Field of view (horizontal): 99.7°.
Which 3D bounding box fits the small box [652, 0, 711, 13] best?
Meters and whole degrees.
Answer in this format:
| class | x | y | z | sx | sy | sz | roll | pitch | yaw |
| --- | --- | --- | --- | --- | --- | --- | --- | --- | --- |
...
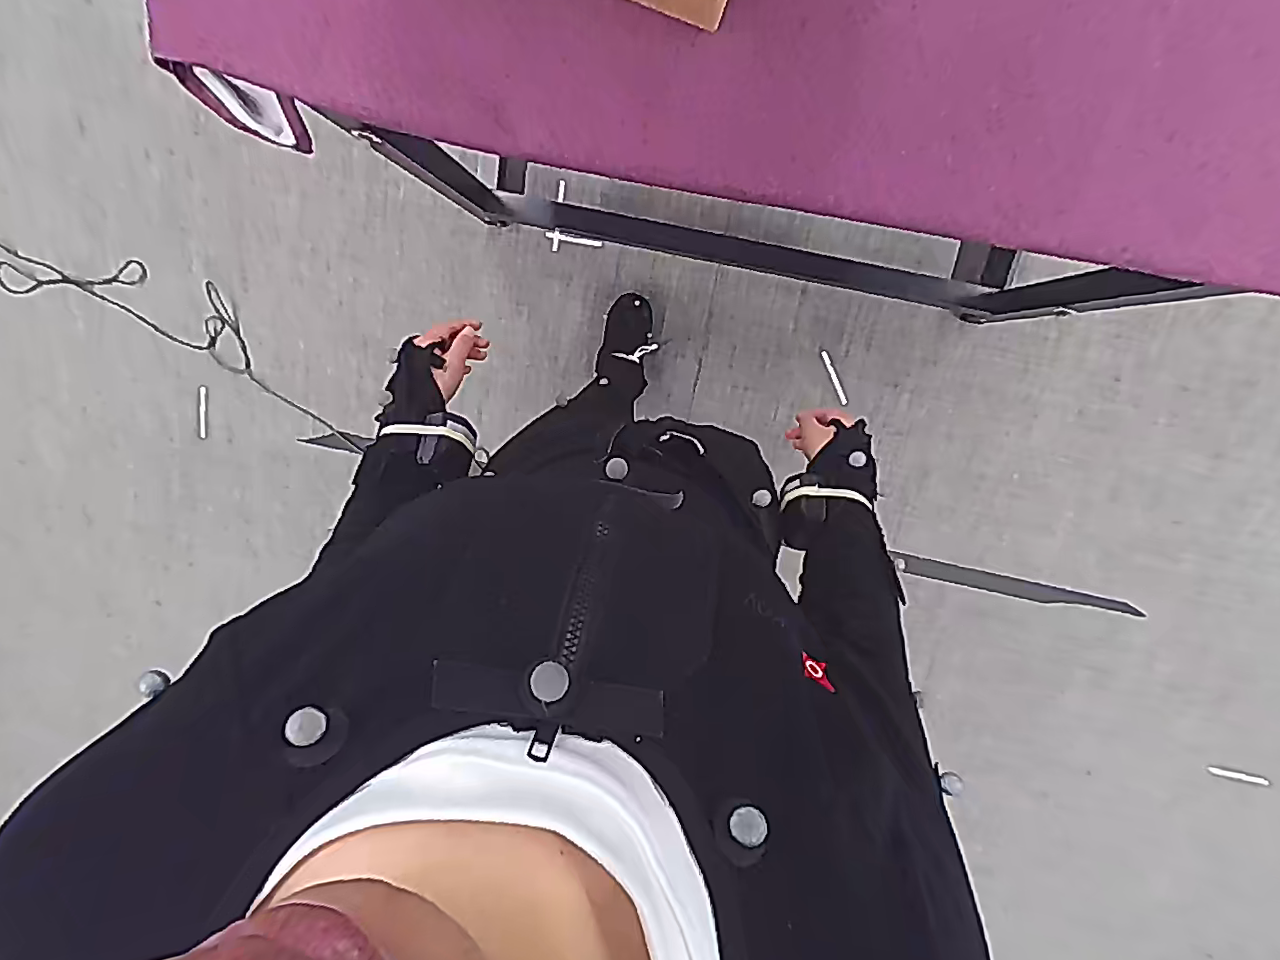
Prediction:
| class | x | y | z | sx | sy | sz | roll | pitch | yaw |
| --- | --- | --- | --- | --- | --- | --- | --- | --- | --- |
| small box | 0.017 | -0.529 | 0.429 | 0.179 | 0.176 | 0.168 | 21 | 103 | -1 |
